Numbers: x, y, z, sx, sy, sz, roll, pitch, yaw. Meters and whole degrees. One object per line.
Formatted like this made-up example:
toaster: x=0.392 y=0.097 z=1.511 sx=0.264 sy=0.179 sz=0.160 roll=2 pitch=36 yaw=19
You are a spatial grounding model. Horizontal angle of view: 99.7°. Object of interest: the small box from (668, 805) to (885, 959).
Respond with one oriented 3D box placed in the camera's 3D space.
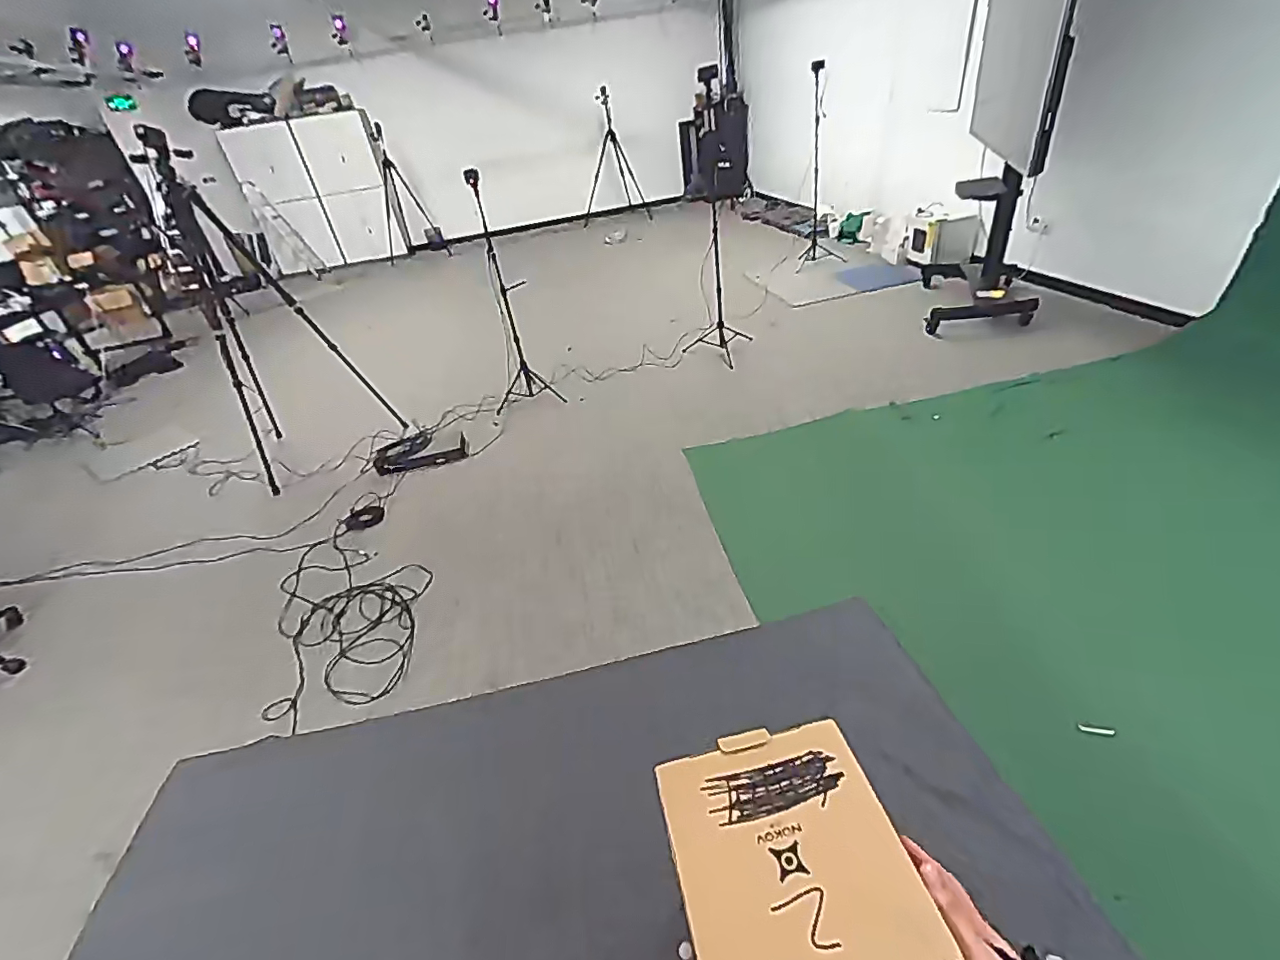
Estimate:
small box: x=0.134 y=0.469 z=0.536 sx=0.168 sy=0.176 sz=0.179 roll=-13 pitch=34 yaw=-5
